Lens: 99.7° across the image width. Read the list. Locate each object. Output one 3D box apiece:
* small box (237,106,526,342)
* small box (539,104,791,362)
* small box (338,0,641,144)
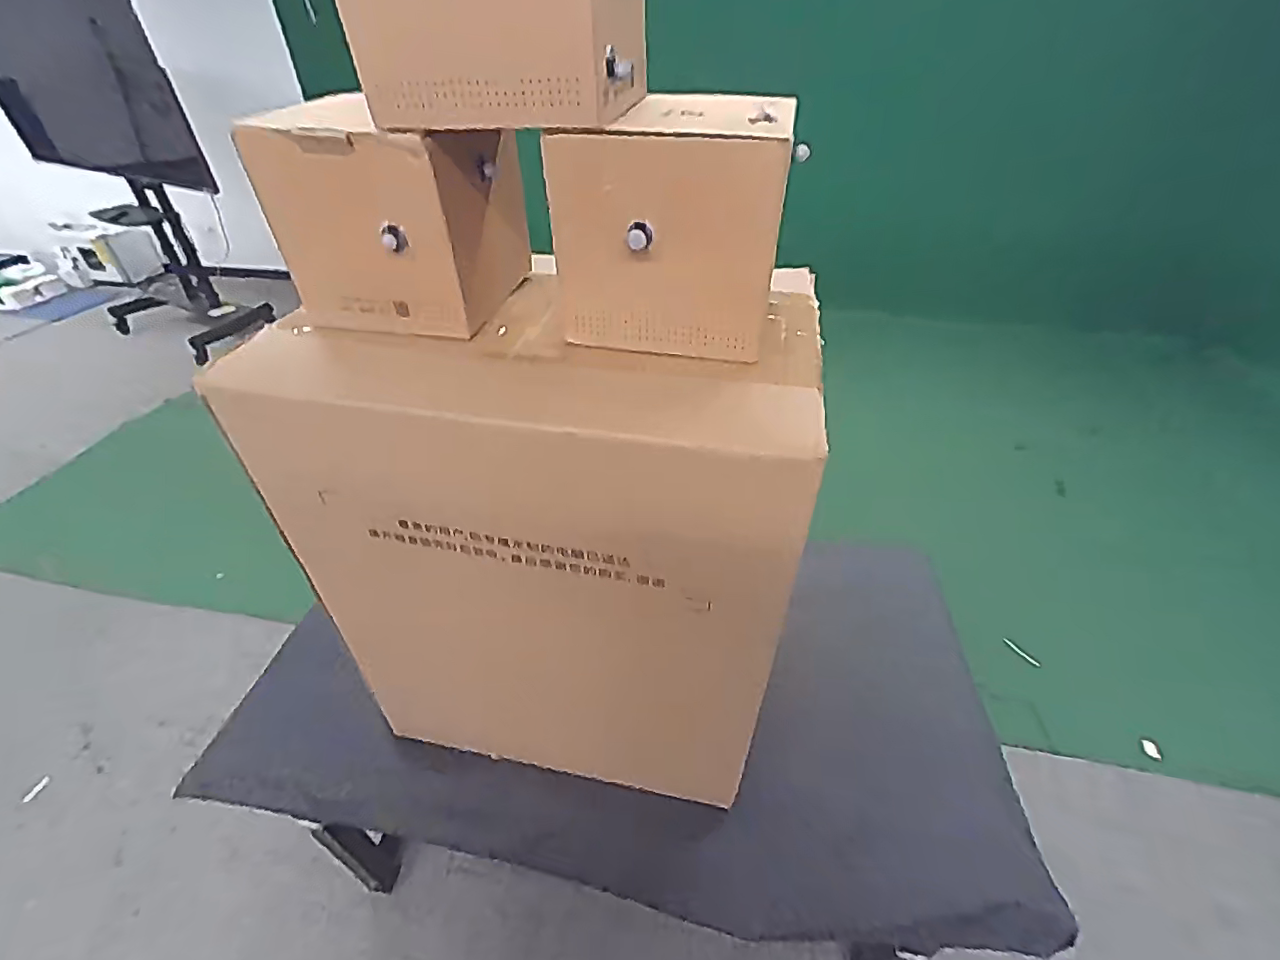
[{"bbox_3d":[-0.219,-0.249,0.522,0.168,0.176,0.179,8,41,8],"label":"small box"},{"bbox_3d":[0.032,-0.219,0.480,0.179,0.176,0.168,7,43,11],"label":"small box"},{"bbox_3d":[-0.098,-0.357,0.392,0.179,0.176,0.168,5,42,10],"label":"small box"}]
